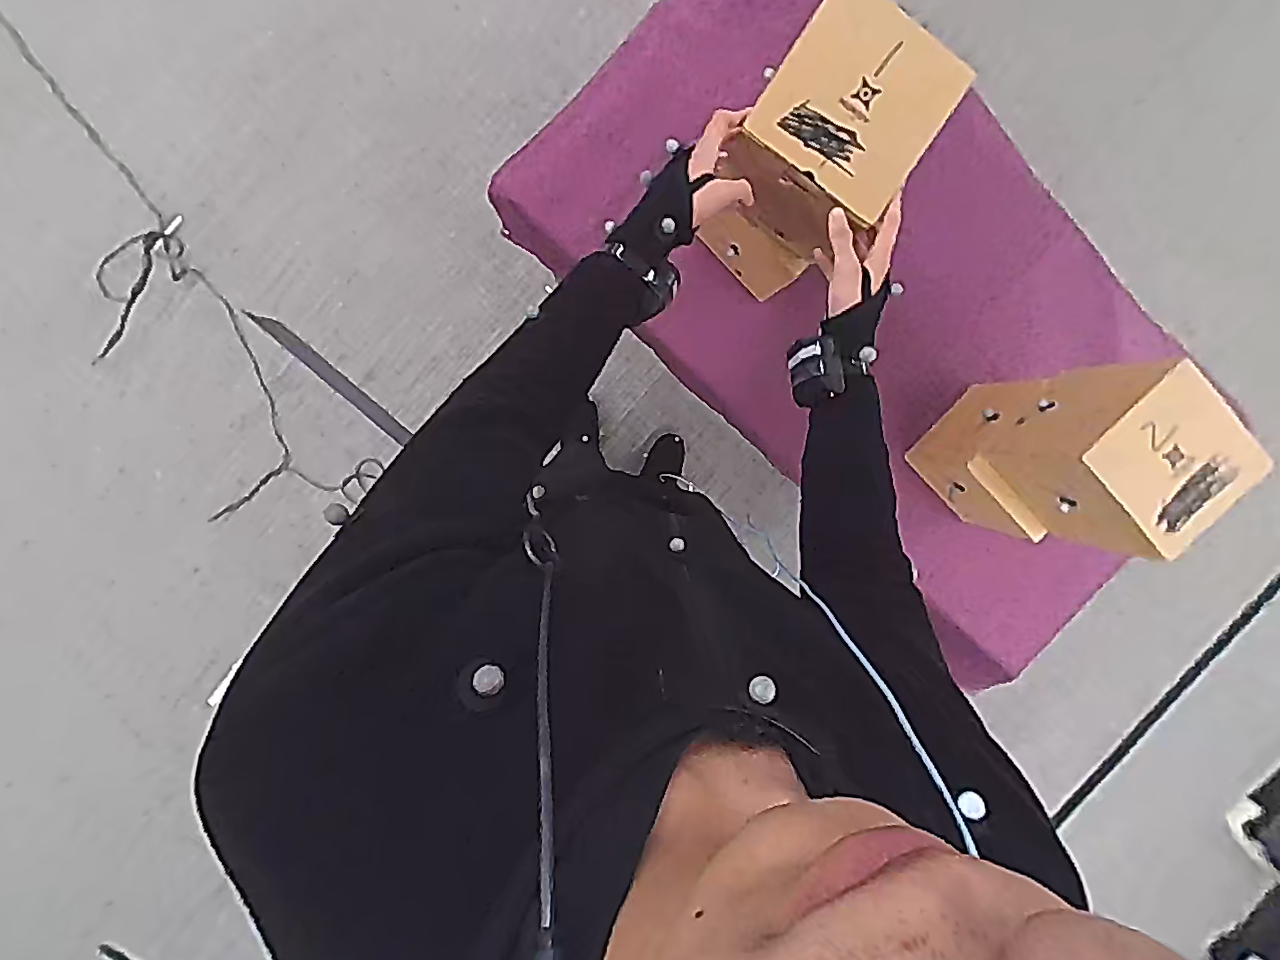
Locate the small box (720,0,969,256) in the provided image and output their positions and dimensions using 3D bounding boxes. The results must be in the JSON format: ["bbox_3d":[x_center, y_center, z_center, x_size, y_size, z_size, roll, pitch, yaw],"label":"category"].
[{"bbox_3d":[0.205,-0.383,0.605,0.168,0.176,0.179,33,97,-8],"label":"small box"}]

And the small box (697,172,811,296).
[{"bbox_3d":[0.200,-0.398,0.788,0.168,0.176,0.179,44,92,-8],"label":"small box"}]

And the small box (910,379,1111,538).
[{"bbox_3d":[0.568,-0.036,0.861,0.168,0.176,0.179,44,91,-7],"label":"small box"}]
